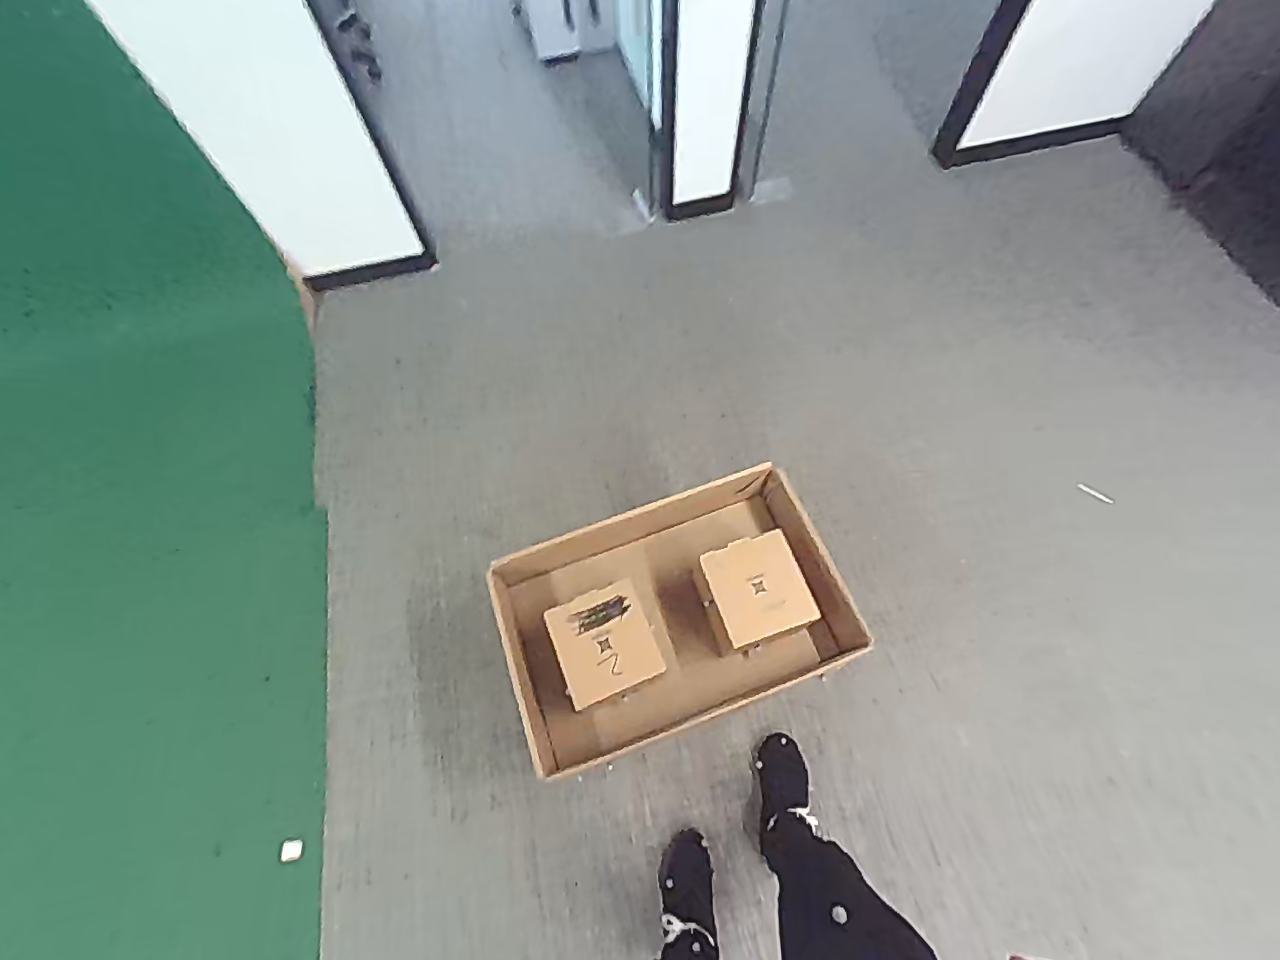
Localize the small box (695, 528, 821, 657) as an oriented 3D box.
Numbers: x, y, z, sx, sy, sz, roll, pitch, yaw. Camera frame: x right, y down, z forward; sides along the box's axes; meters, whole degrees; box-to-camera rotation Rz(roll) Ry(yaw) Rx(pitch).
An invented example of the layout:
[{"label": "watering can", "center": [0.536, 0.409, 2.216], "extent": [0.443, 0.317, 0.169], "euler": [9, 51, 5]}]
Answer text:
[{"label": "small box", "center": [0.210, 0.217, 1.024], "extent": [0.168, 0.176, 0.179], "euler": [-17, 65, -6]}]
